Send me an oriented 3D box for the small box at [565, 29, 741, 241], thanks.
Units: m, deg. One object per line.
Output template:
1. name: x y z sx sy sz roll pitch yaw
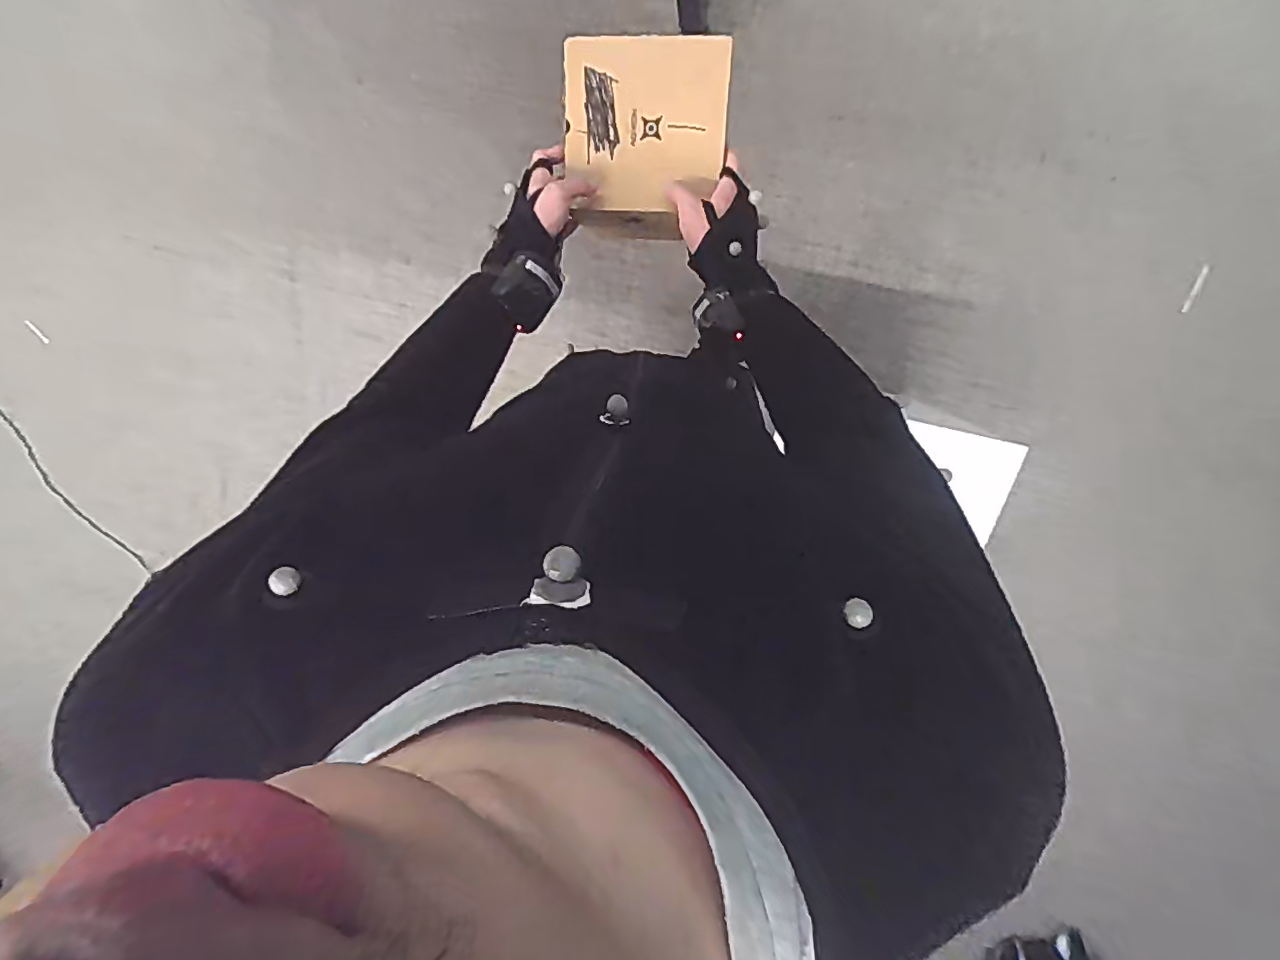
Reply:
1. small box: 0.016 -0.382 0.629 0.179 0.176 0.168 3 104 3
